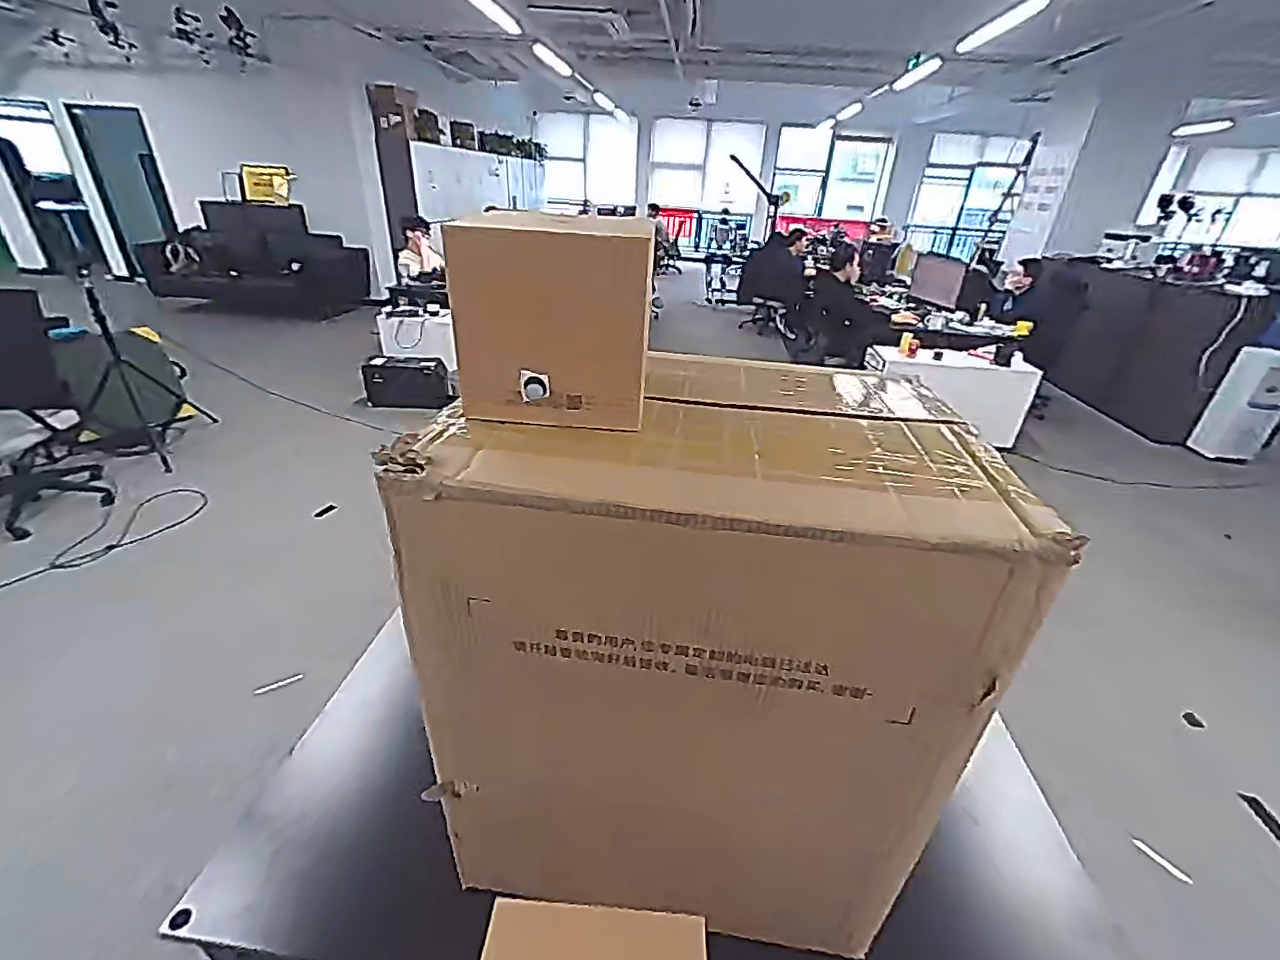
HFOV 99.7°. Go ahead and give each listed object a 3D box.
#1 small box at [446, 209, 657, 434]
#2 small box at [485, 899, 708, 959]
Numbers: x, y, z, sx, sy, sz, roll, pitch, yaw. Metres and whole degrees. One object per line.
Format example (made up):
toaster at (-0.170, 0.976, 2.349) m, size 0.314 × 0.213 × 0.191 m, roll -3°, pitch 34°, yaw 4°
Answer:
small box at (-0.071, -0.160, 0.527) m, size 0.168 × 0.176 × 0.179 m, roll 3°, pitch 31°, yaw 0°
small box at (-0.041, 0.444, 0.380) m, size 0.168 × 0.176 × 0.179 m, roll 4°, pitch 28°, yaw 1°
